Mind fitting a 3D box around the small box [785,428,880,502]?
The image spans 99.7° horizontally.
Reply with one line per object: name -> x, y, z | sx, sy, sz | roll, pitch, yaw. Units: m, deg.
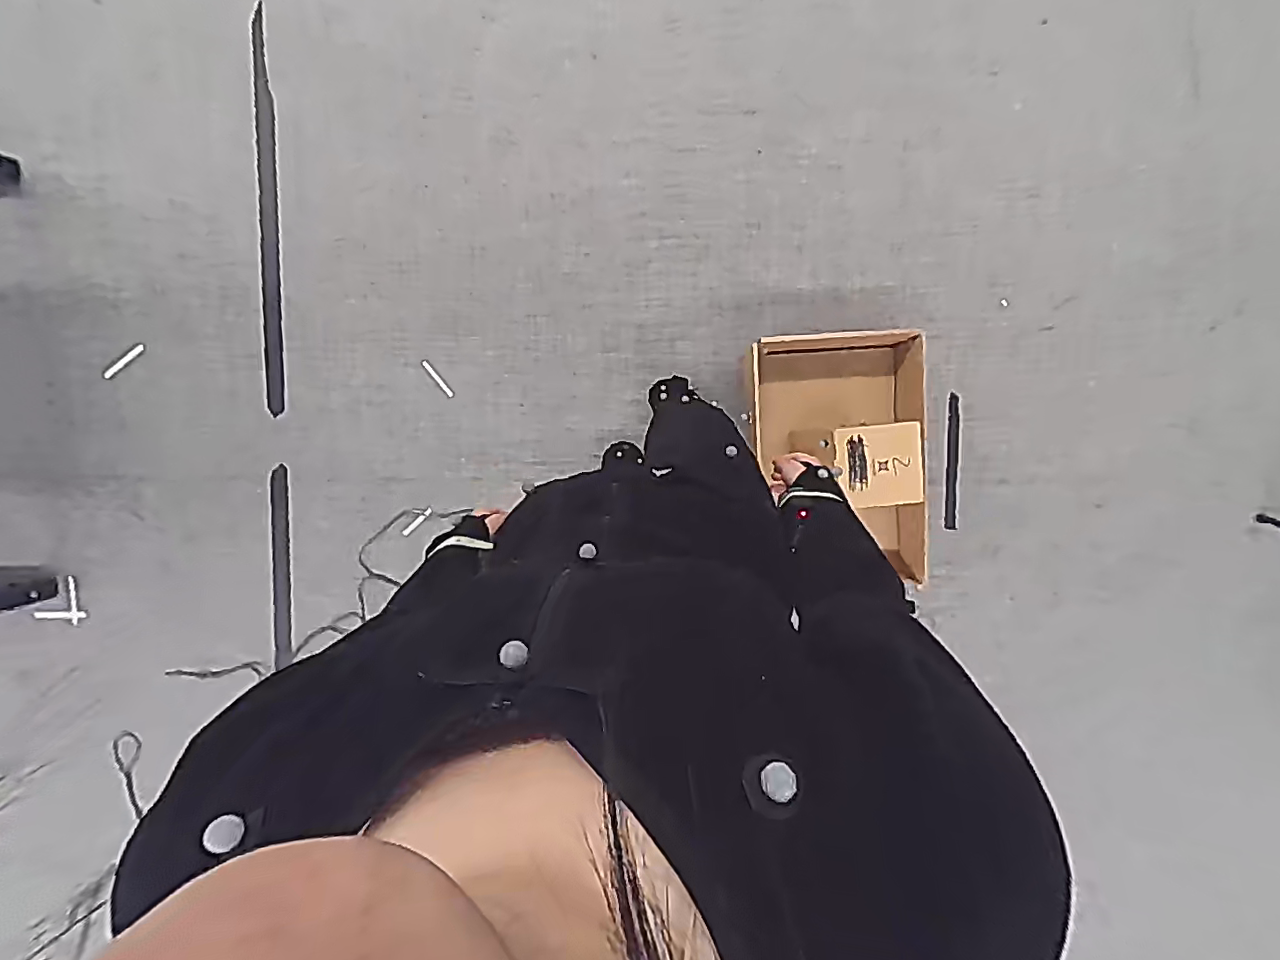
small box -> 0.470, -0.042, 1.336 | 0.179, 0.176, 0.168 | -5, 94, 1
